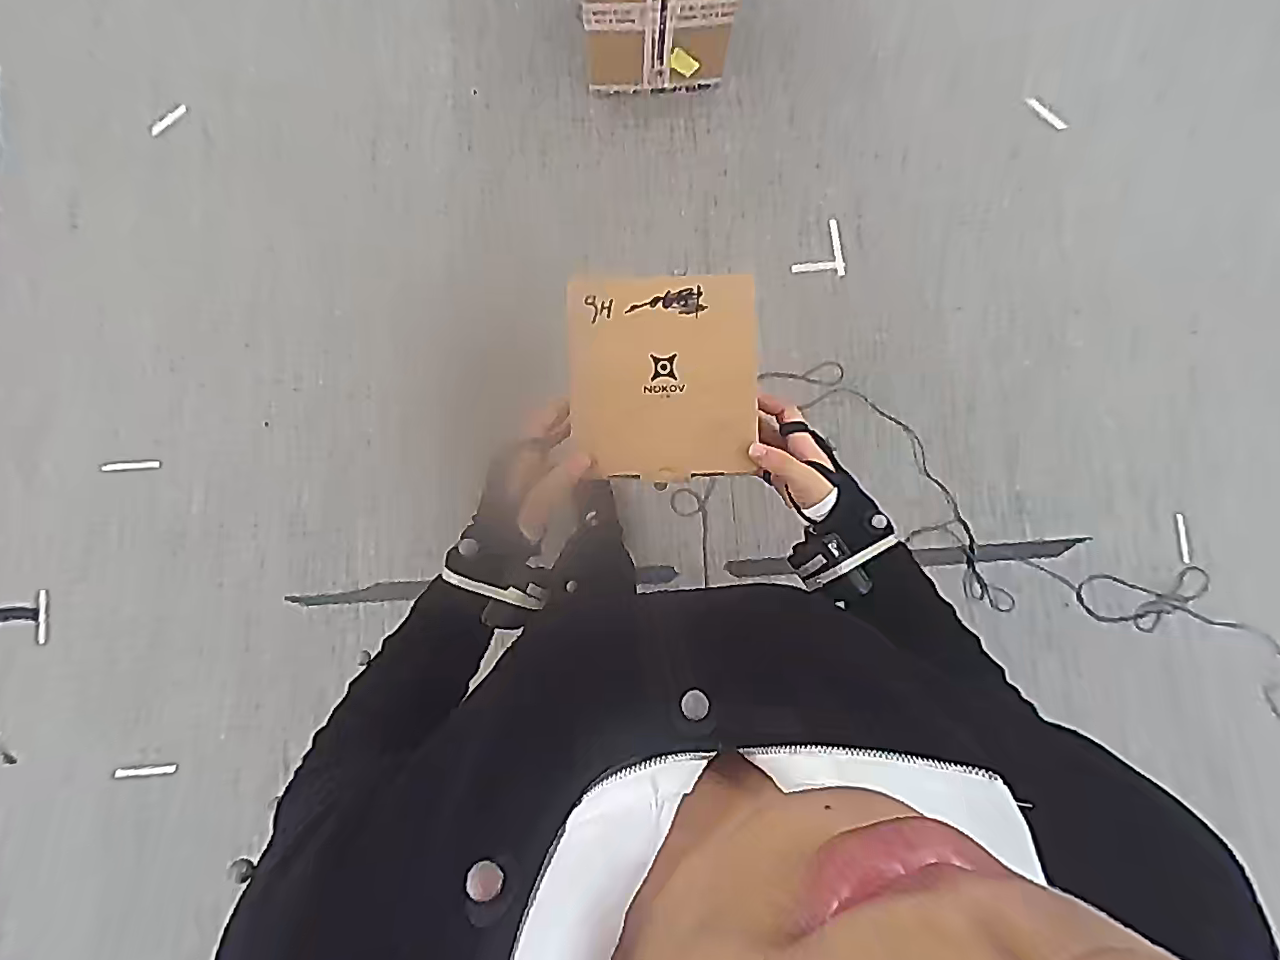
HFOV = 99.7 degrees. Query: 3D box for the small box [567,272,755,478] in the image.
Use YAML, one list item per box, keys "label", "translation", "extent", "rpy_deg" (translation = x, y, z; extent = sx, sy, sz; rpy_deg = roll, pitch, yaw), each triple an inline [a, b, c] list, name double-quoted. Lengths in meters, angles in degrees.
- label: "small box"
  translation: [0.020, -0.097, 0.553]
  extent: [0.168, 0.176, 0.179]
  rpy_deg: [-2, 94, 0]
